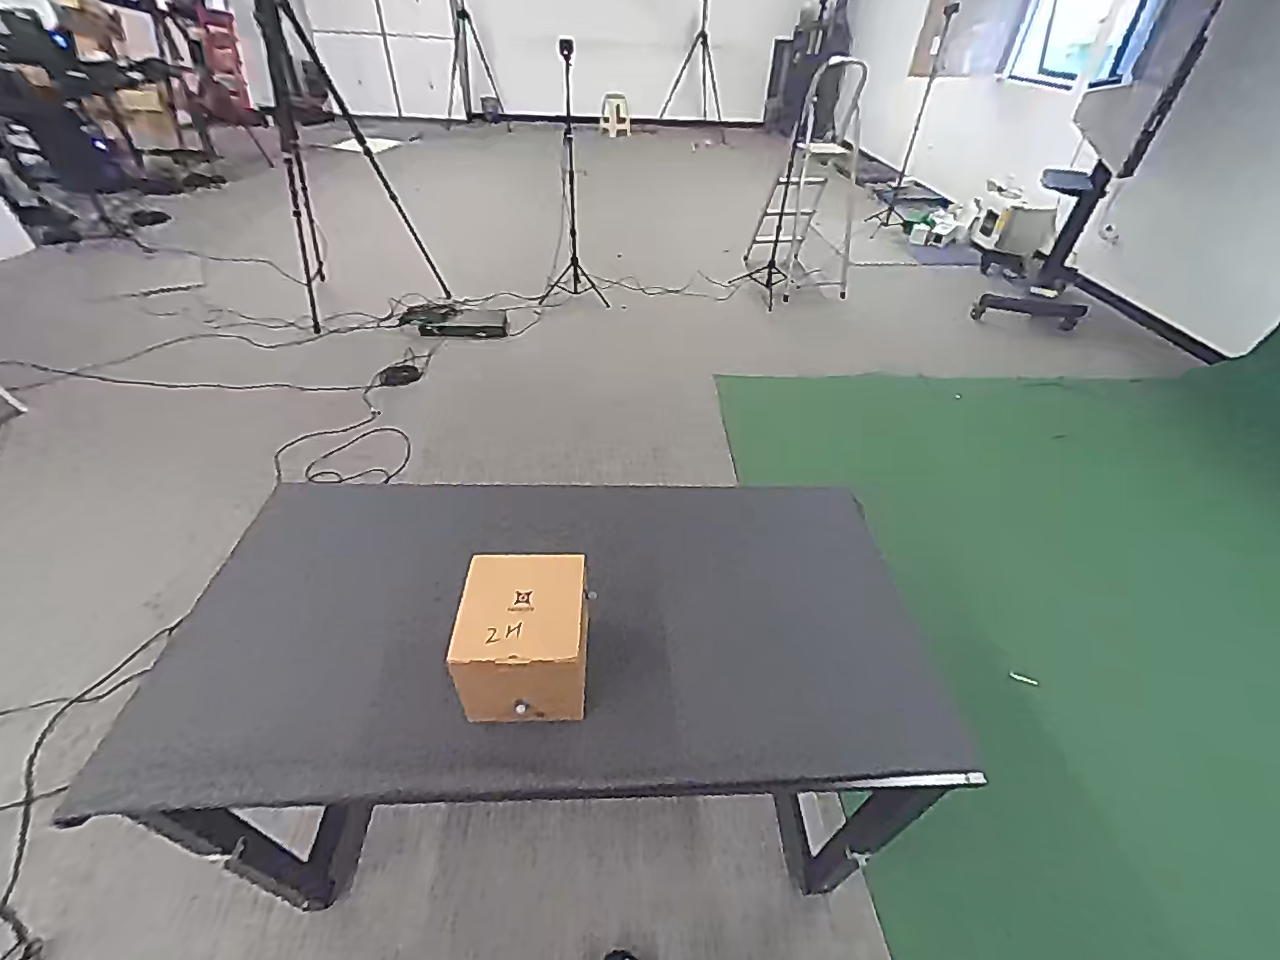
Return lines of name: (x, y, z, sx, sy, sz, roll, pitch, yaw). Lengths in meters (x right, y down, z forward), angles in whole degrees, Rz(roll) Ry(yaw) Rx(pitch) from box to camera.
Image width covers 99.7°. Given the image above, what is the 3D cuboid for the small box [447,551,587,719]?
small box: (-0.164, 0.223, 0.786, 0.168, 0.176, 0.179, 0, 41, -2)
